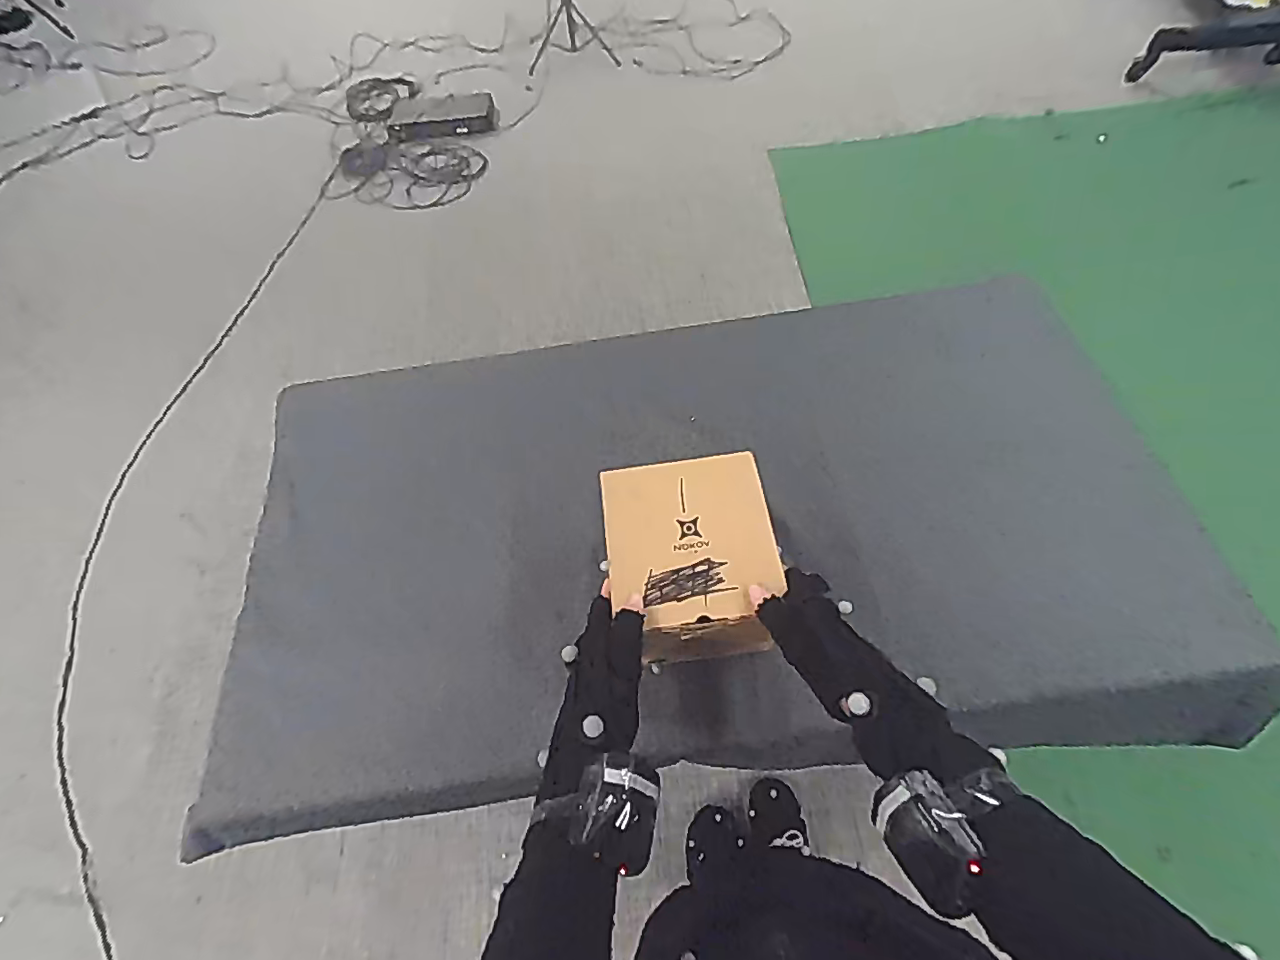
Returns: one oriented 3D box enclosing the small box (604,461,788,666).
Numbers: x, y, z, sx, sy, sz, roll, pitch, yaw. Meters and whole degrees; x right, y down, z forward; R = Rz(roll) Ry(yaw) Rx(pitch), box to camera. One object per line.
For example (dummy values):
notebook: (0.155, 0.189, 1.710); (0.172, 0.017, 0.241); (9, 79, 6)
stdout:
small box: (0.056, 0.104, 0.610); (0.168, 0.176, 0.179); (-8, 59, 0)
